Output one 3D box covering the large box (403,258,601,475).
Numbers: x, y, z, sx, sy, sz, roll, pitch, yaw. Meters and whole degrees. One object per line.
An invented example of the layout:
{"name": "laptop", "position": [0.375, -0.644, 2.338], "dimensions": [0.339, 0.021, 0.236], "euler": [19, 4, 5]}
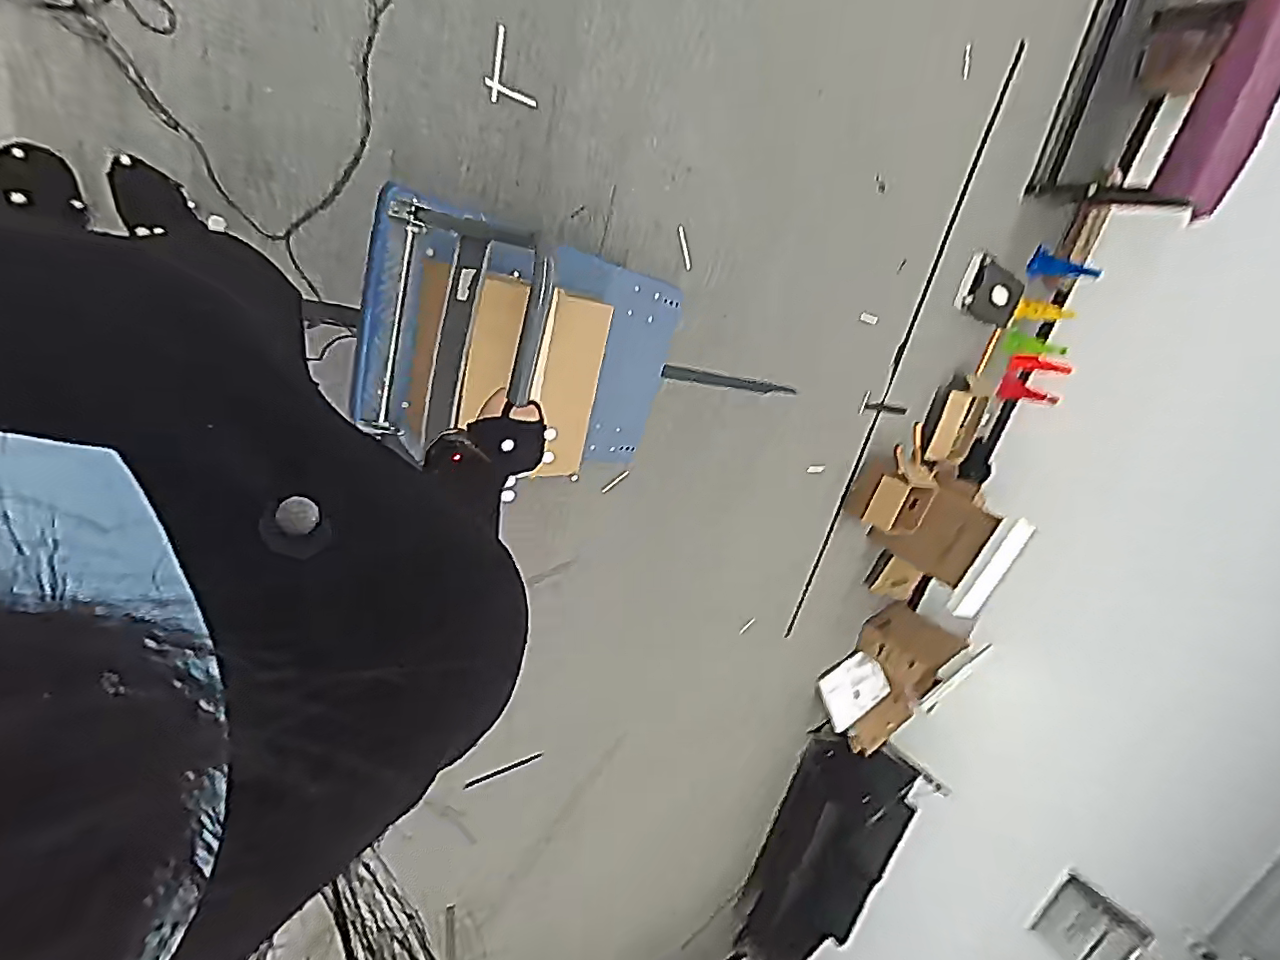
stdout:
{"name": "large box", "position": [-0.333, -0.260, 1.253], "dimensions": [0.320, 0.320, 0.408], "euler": [-2, 116, -40]}
